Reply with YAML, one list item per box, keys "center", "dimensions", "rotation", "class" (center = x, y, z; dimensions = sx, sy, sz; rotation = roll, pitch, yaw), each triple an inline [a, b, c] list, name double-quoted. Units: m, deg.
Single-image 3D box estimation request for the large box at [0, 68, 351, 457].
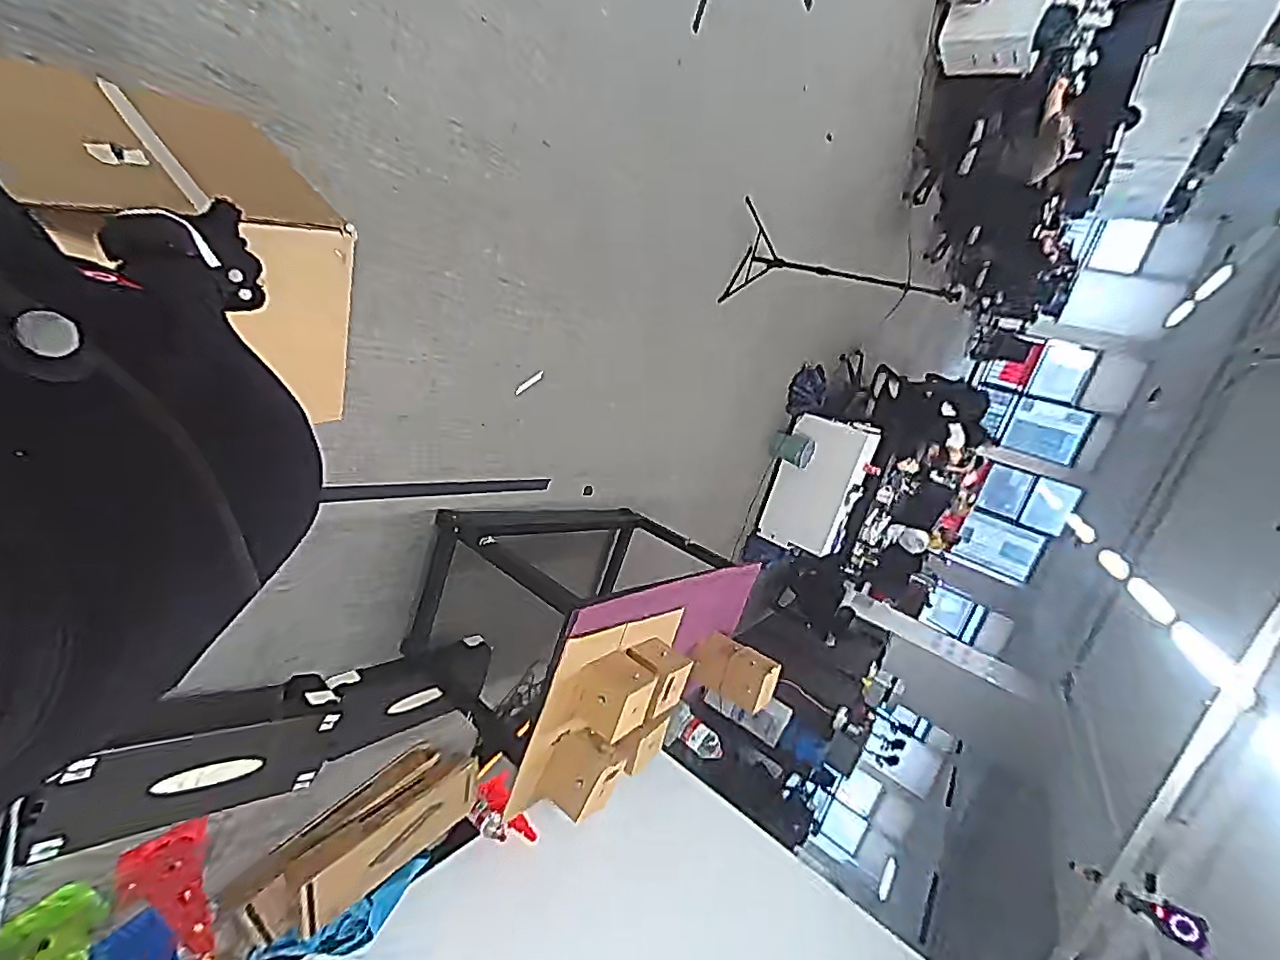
- center: [-0.668, -0.294, 0.755]
  dimensions: [0.320, 0.408, 0.320]
  rotation: [-21, 148, -47]
  class: "large box"
